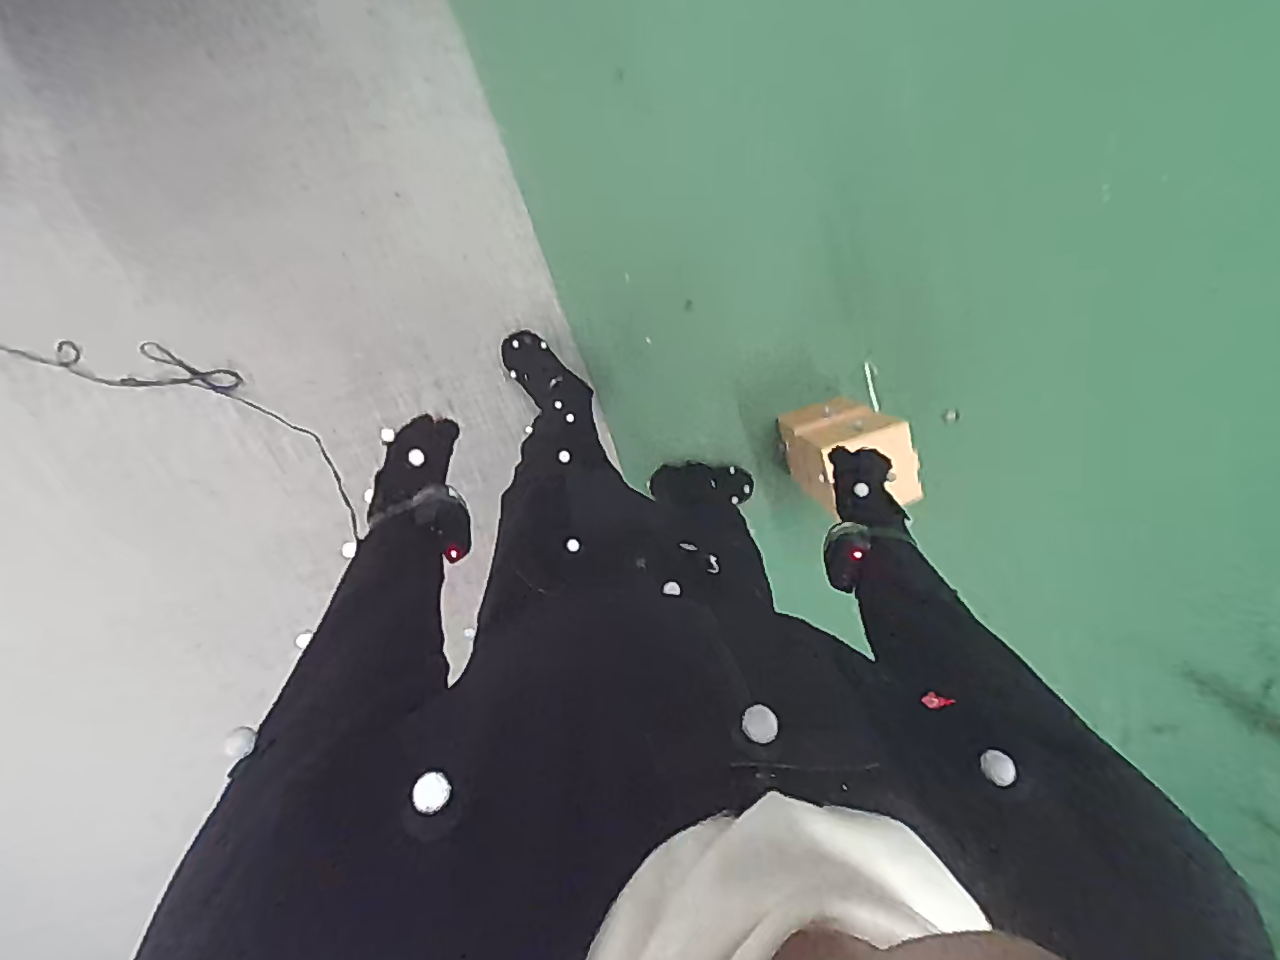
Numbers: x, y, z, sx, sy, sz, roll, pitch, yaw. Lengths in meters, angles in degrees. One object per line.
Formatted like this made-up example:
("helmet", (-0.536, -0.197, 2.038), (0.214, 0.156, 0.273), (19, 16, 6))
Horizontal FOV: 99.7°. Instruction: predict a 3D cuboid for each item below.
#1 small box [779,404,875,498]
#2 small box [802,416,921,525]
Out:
("small box", (0.452, -0.076, 1.293), (0.179, 0.176, 0.168), (-15, 104, 4))
("small box", (0.463, -0.028, 1.156), (0.179, 0.176, 0.168), (-18, 105, 4))
